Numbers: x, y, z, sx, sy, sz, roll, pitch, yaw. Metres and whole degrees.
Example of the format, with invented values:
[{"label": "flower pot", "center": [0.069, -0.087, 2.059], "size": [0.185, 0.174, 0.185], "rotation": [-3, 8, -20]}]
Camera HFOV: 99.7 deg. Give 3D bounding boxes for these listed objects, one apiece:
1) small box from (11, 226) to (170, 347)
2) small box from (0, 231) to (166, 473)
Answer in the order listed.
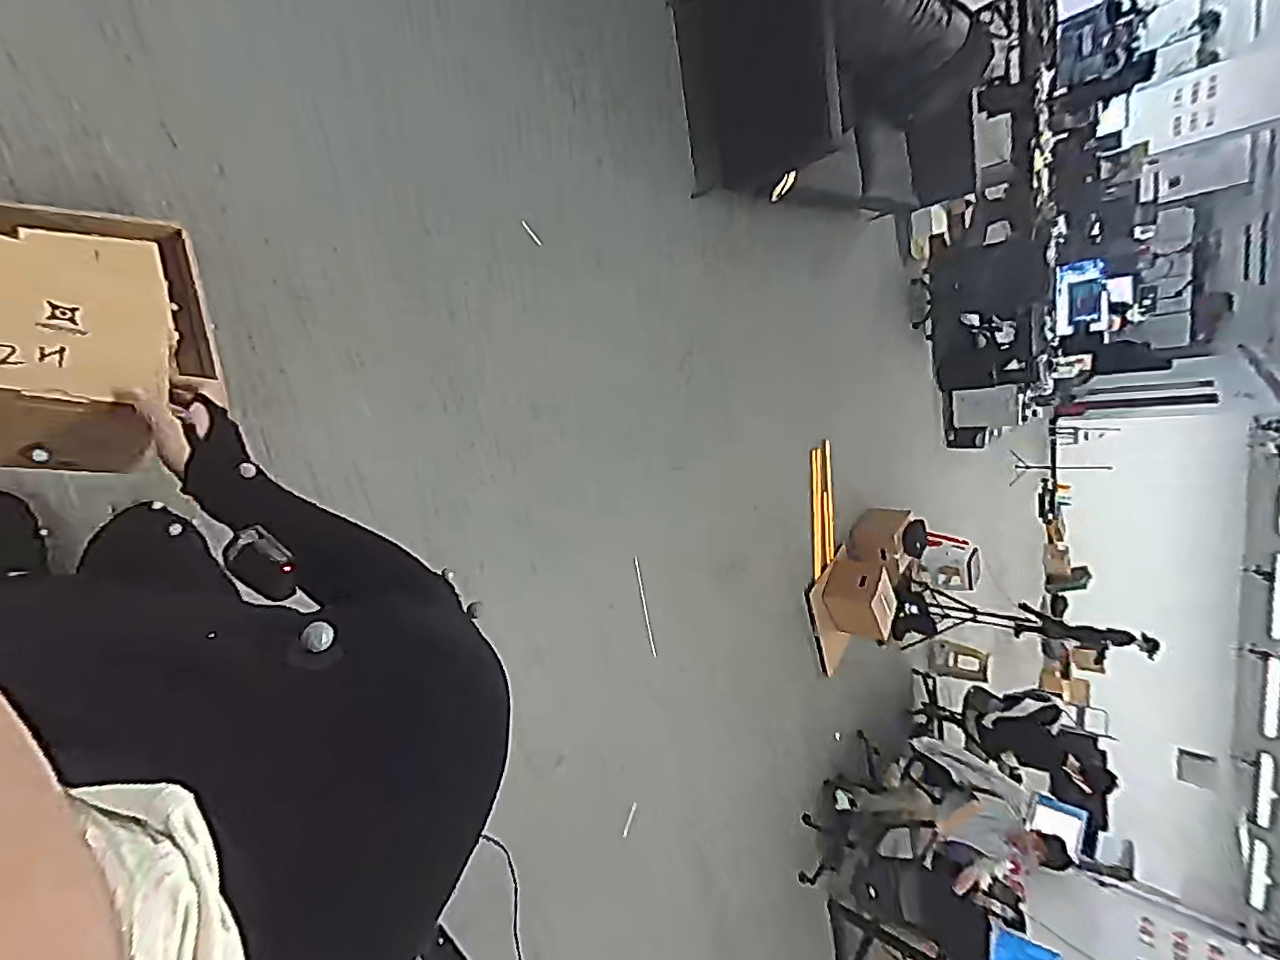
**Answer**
[{"label": "small box", "center": [-0.944, -0.313, 0.941], "size": [0.168, 0.176, 0.179], "rotation": [-12, 98, -44]}, {"label": "small box", "center": [-0.624, -0.125, 0.566], "size": [0.168, 0.176, 0.179], "rotation": [6, 62, -51]}]
